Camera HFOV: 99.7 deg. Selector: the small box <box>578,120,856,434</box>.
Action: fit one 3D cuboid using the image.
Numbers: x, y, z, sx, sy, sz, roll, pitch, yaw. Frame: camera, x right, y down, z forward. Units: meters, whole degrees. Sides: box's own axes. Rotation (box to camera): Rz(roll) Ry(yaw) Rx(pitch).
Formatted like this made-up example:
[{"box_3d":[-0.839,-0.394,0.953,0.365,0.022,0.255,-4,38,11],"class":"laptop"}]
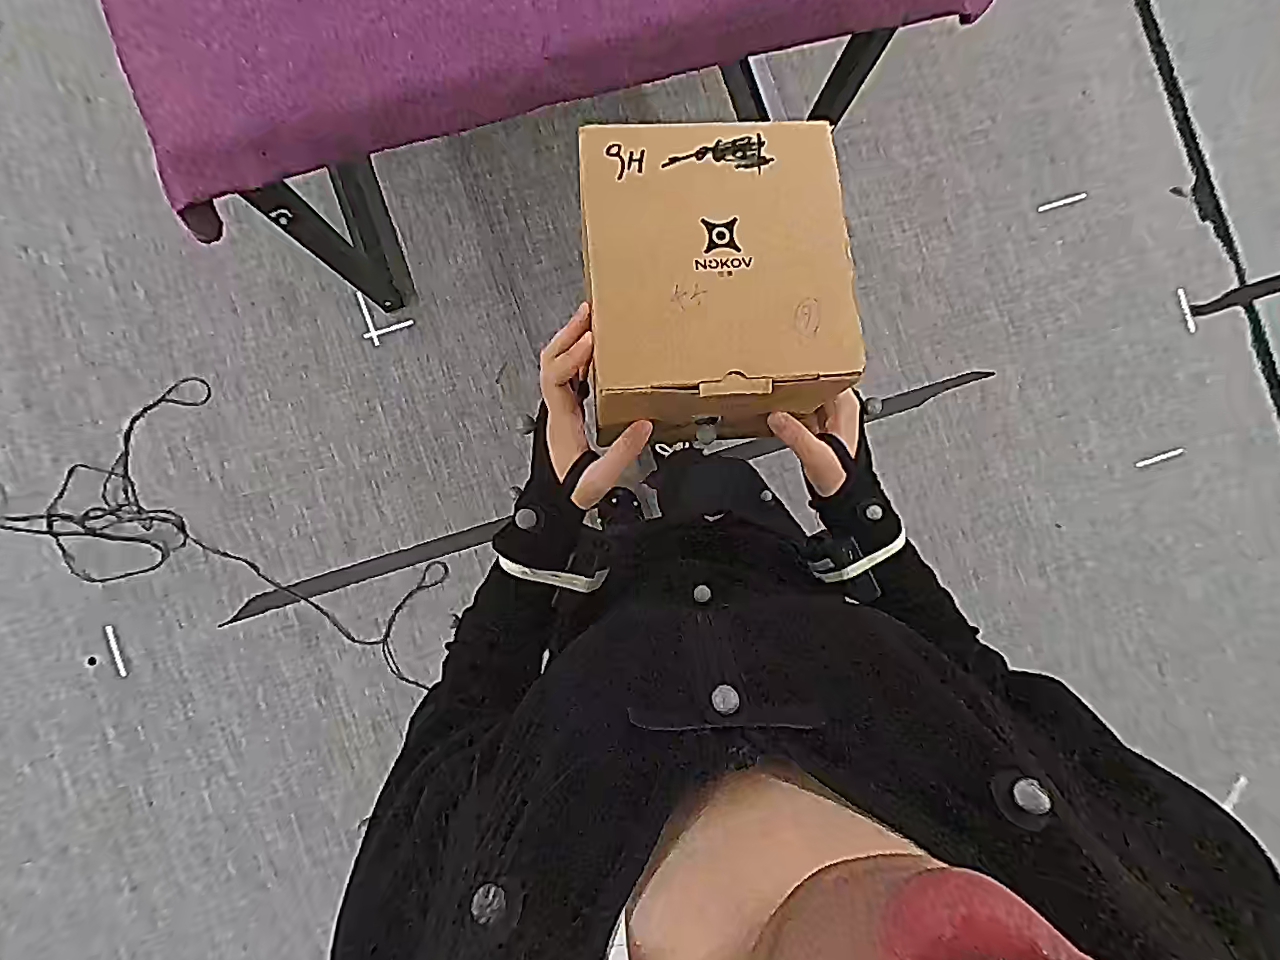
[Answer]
[{"box_3d":[0.042,-0.134,0.417,0.168,0.176,0.179,-4,83,-5],"class":"small box"}]
